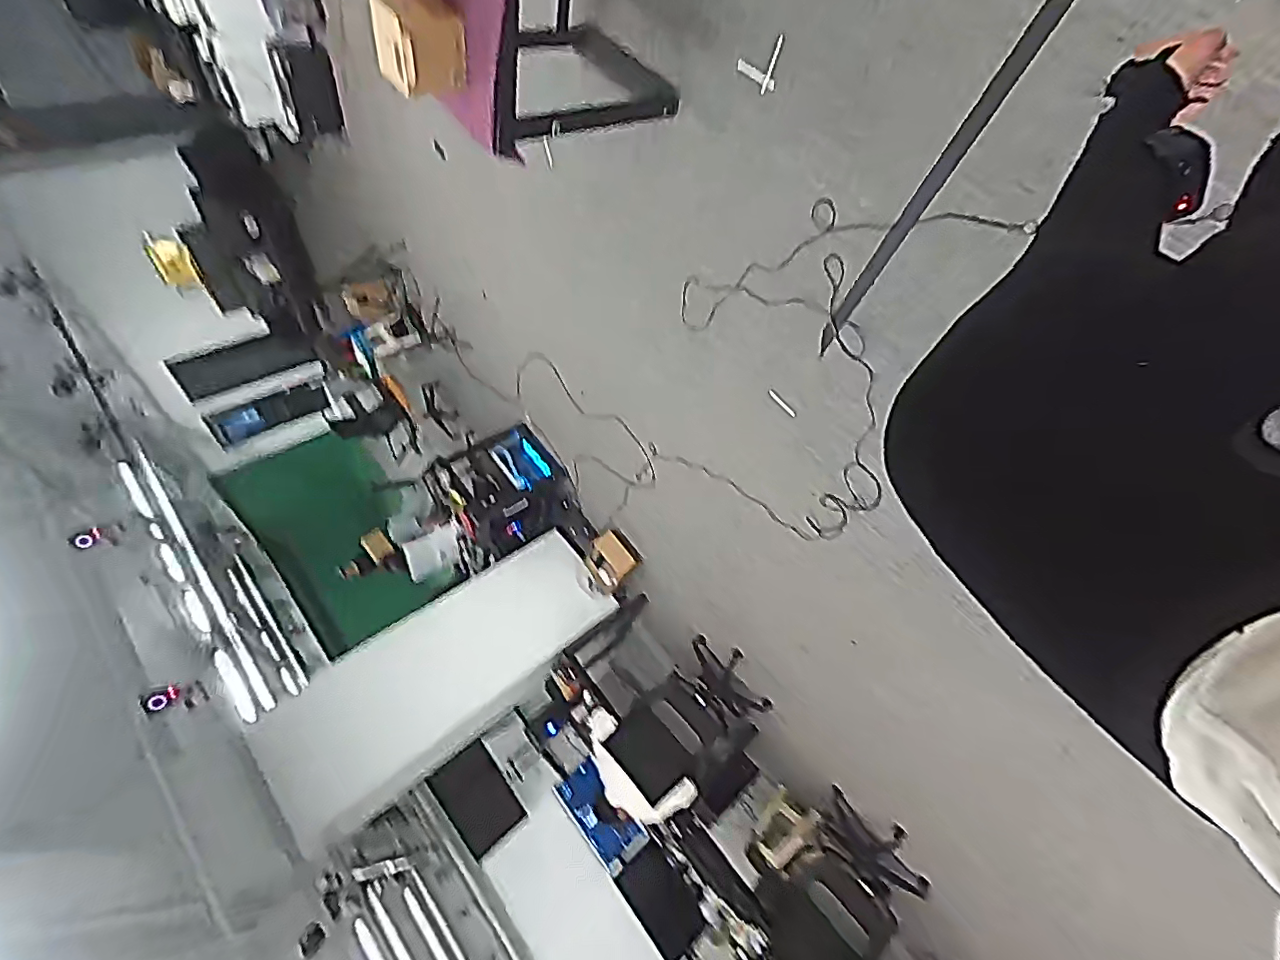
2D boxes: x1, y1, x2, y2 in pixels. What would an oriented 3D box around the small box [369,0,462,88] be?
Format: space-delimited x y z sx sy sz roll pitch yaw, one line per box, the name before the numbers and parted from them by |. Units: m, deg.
small box | -0.577 -1.162 1.410 0.179 0.176 0.168 49 149 19
